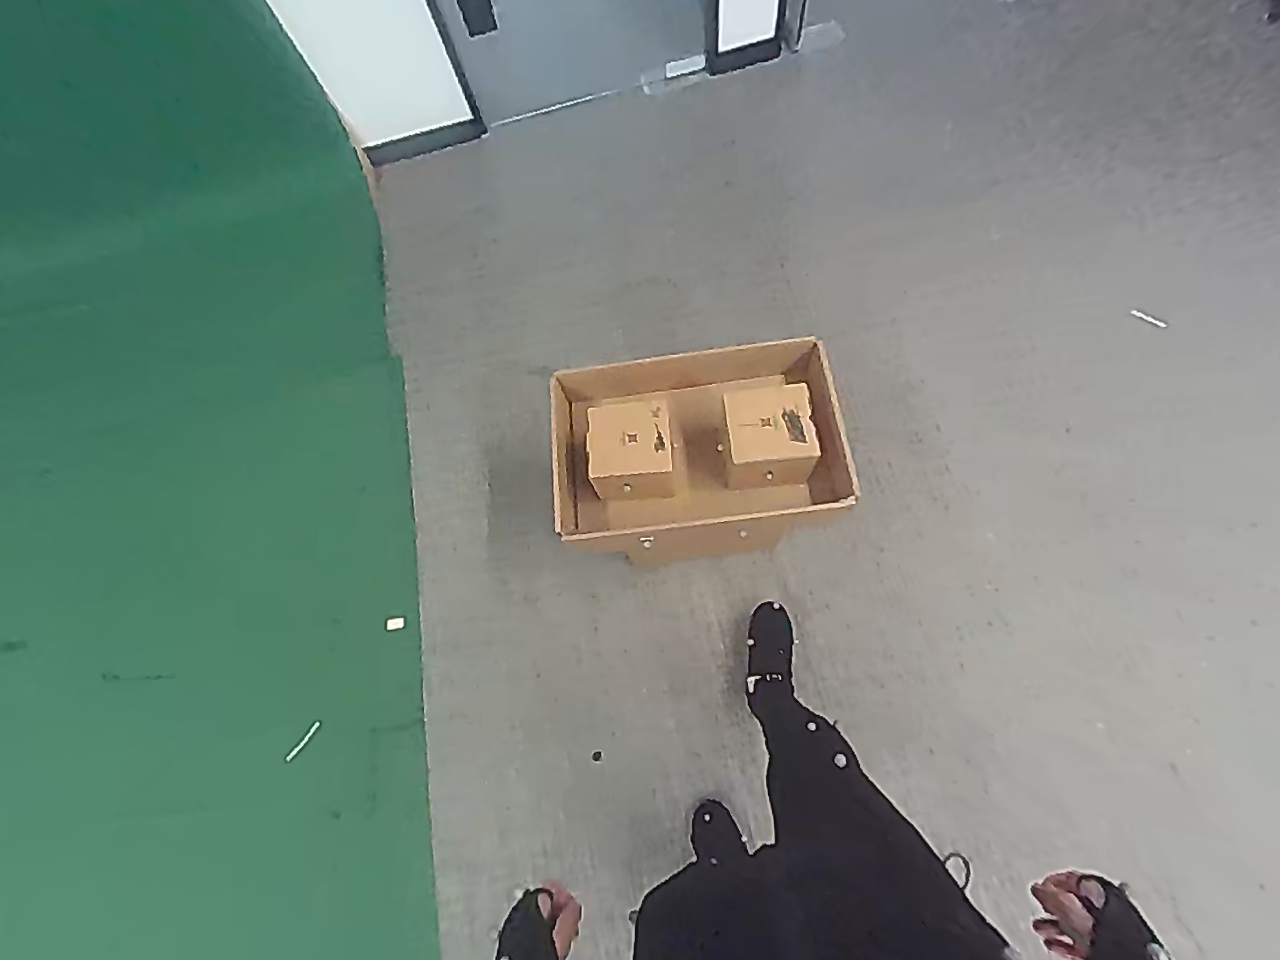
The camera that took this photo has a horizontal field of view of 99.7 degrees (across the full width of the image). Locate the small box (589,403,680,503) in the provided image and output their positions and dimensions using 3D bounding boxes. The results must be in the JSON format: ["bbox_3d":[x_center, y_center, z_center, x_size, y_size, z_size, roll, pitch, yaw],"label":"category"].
[{"bbox_3d":[-0.009,-0.052,1.205,0.179,0.176,0.168,-5,69,6],"label":"small box"}]
